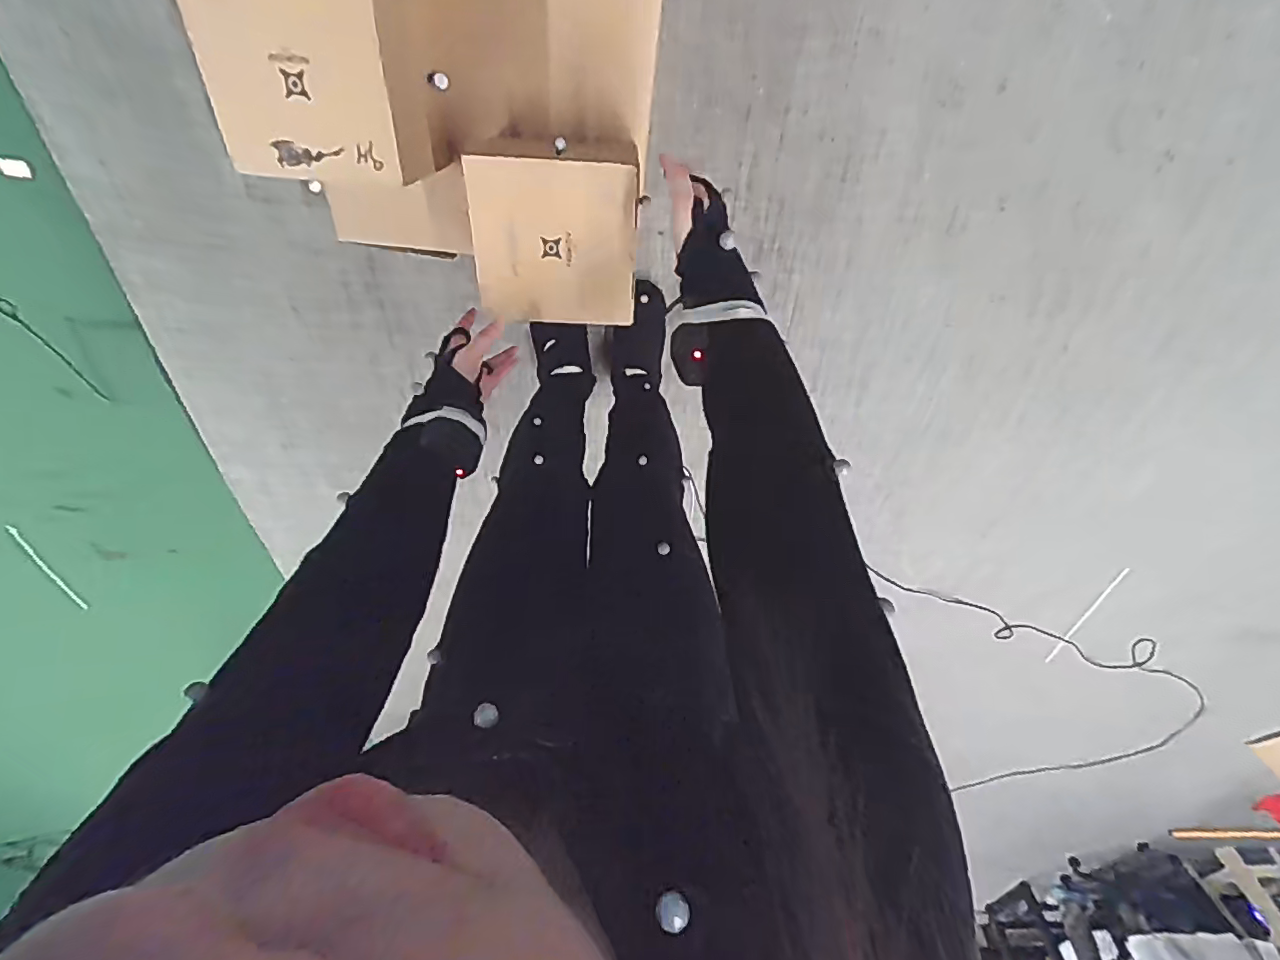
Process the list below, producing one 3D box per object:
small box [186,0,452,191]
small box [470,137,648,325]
[{"bbox_3d":[-0.301,-0.408,0.544,0.168,0.176,0.179,4,127,-3],"label":"small box"},{"bbox_3d":[-0.086,-0.296,0.637,0.179,0.176,0.168,2,128,-3],"label":"small box"}]
